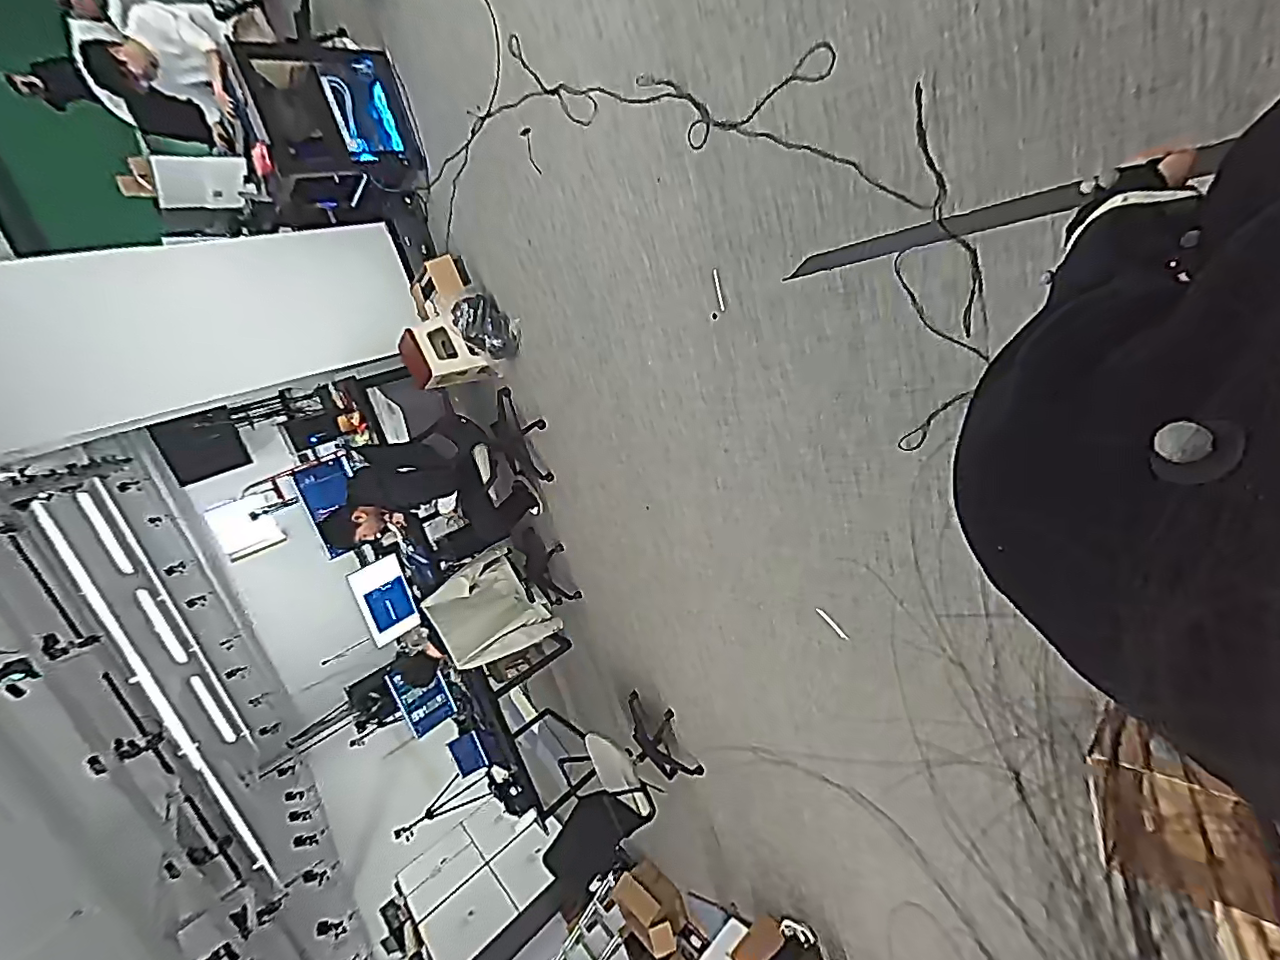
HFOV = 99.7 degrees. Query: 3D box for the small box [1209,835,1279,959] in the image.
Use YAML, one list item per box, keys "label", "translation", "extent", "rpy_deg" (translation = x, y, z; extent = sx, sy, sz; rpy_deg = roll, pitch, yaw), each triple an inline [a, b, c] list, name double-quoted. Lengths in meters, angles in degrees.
- label: "small box"
  translation: [1.292, 0.885, 1.101]
  extent: [0.168, 0.176, 0.179]
  rpy_deg: [-1, 112, 52]
